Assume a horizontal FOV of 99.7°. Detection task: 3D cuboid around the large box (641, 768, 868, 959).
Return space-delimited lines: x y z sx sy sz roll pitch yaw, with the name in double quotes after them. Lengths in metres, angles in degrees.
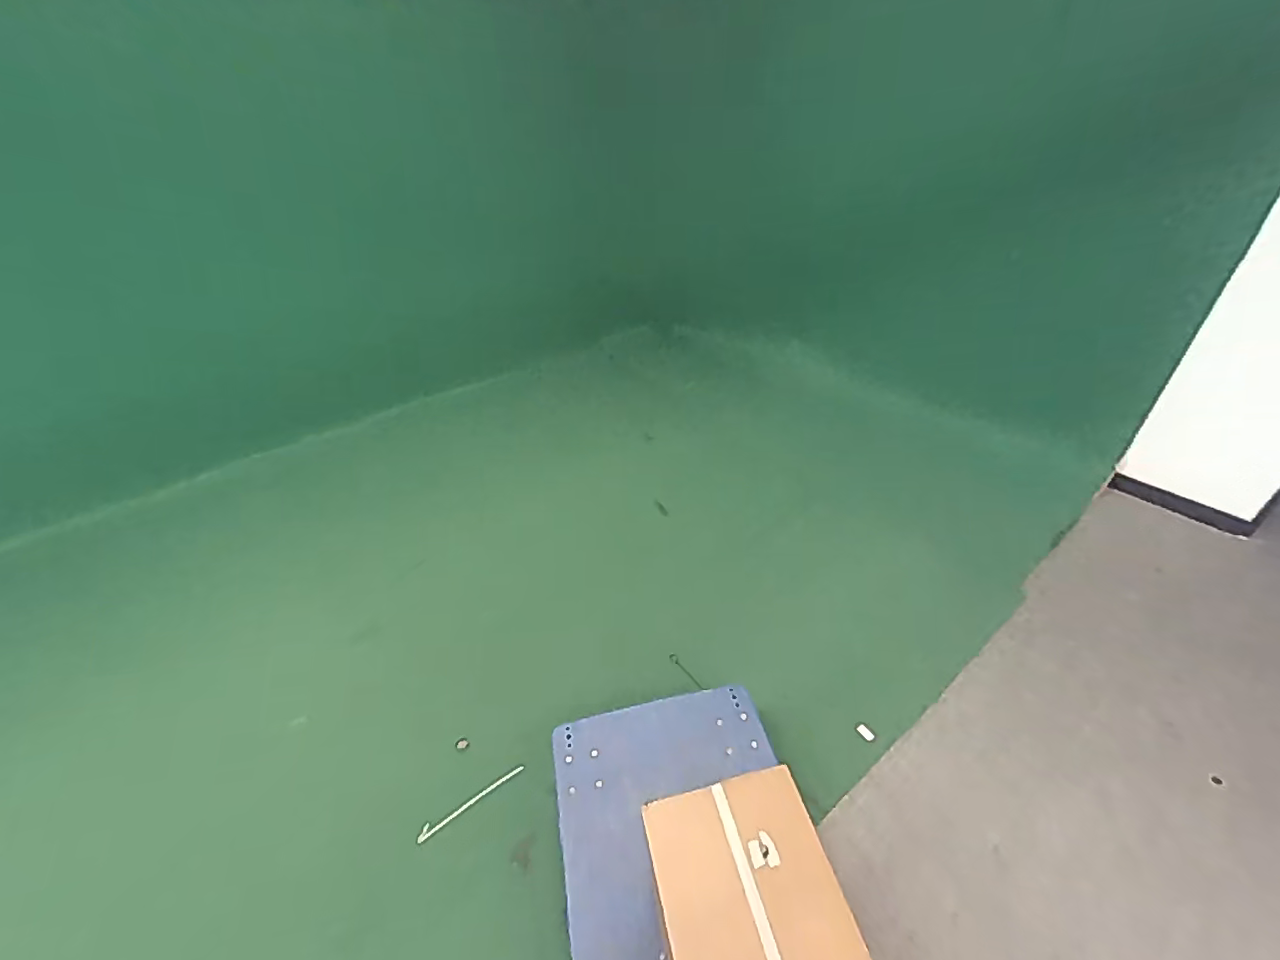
0.206 0.864 1.045 0.320 0.320 0.408 -10 38 -9 "large box"
